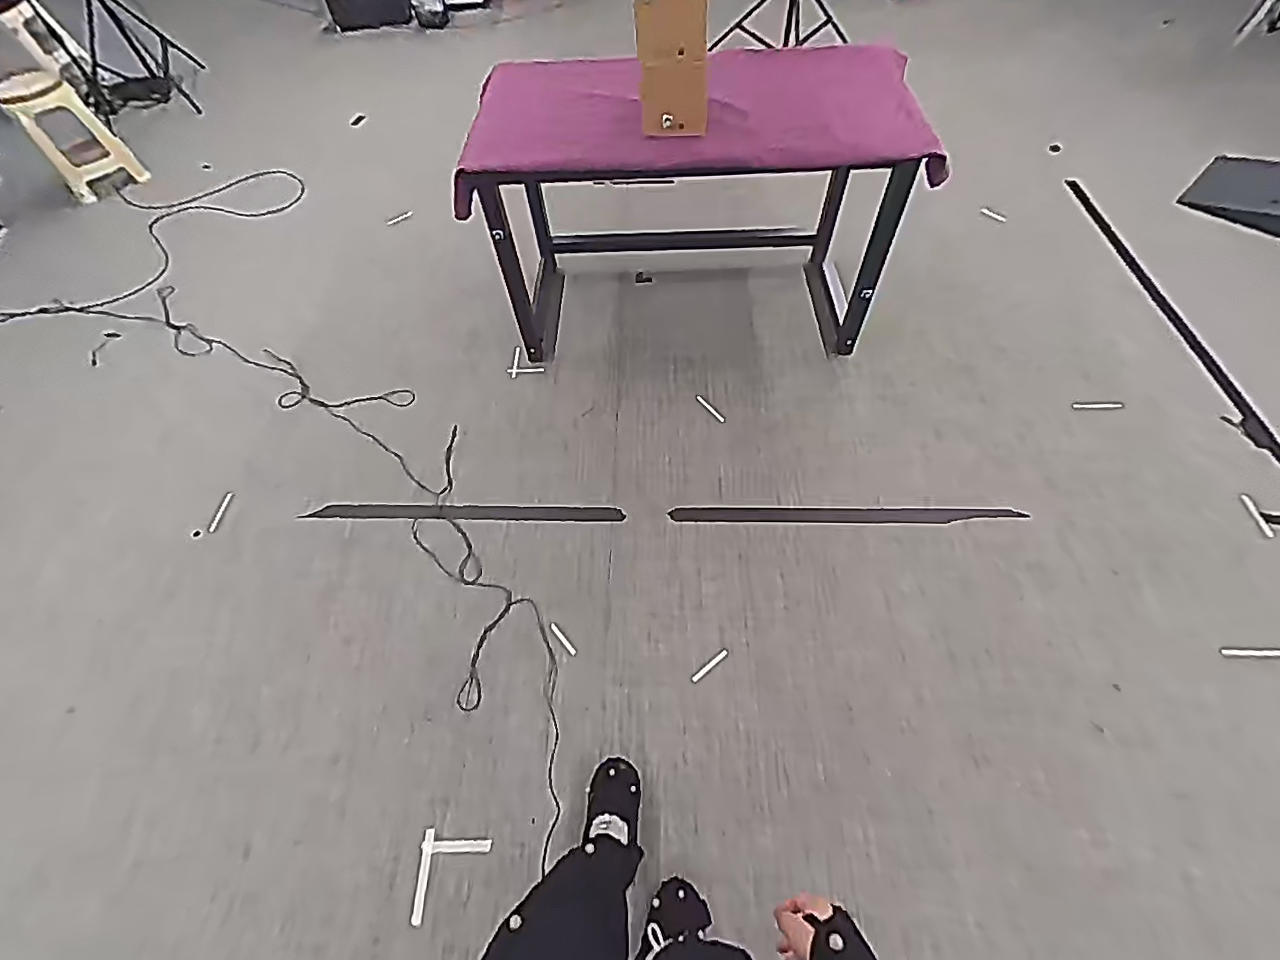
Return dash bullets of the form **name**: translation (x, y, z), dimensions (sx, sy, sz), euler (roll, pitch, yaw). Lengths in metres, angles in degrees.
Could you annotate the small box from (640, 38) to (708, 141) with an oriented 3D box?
- **small box**: translation (0.090, -1.013, 1.407), dimensions (0.168, 0.176, 0.179), euler (1, 57, 5)
